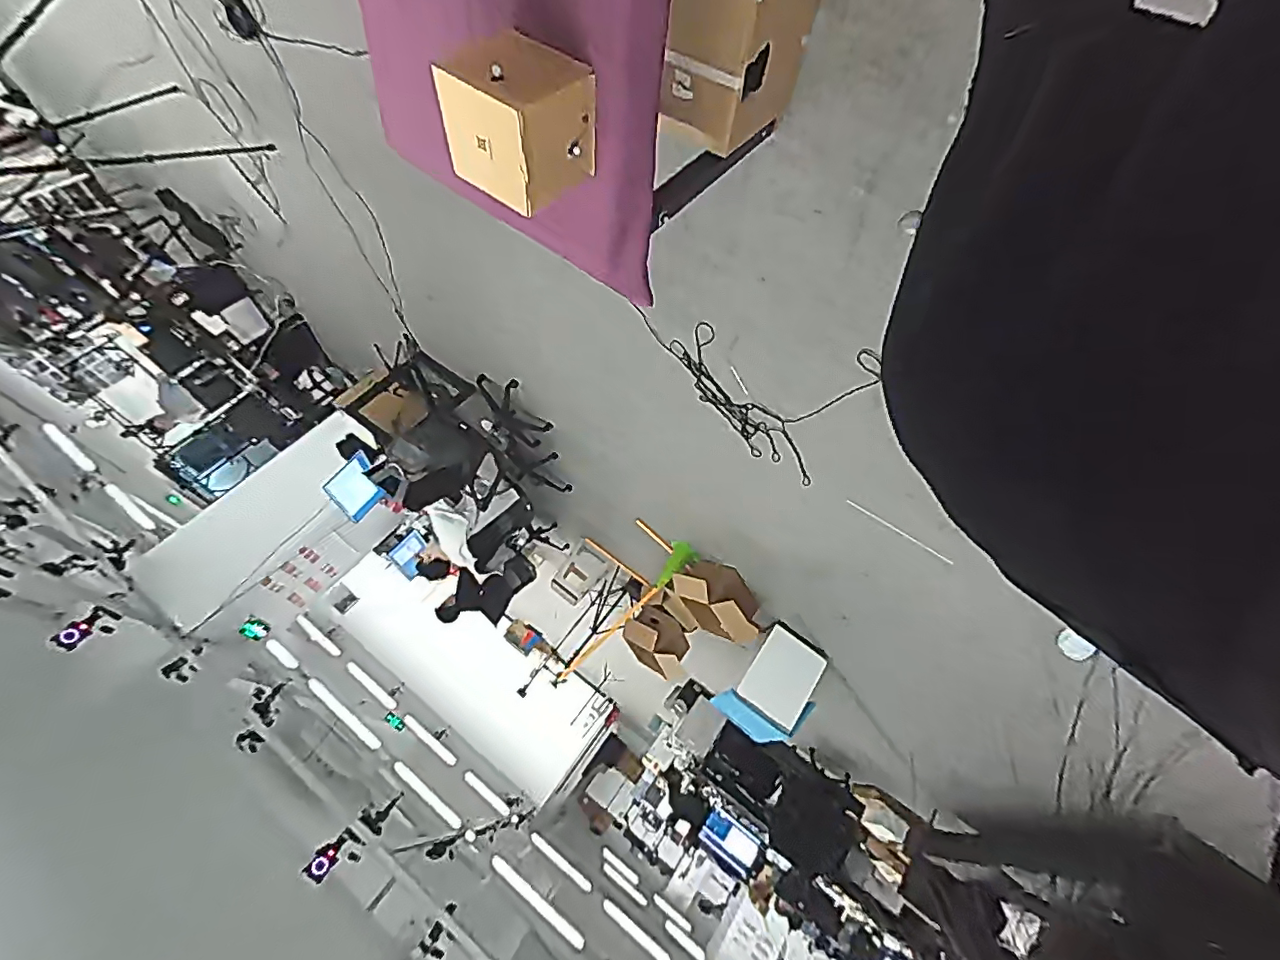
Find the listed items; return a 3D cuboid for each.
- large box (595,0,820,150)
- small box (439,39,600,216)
[{"bbox_3d":[0.148,-1.034,1.224,0.408,0.320,0.320,33,154,14],"label":"large box"},{"bbox_3d":[-0.186,-0.573,0.875,0.179,0.176,0.168,35,154,14],"label":"small box"}]
